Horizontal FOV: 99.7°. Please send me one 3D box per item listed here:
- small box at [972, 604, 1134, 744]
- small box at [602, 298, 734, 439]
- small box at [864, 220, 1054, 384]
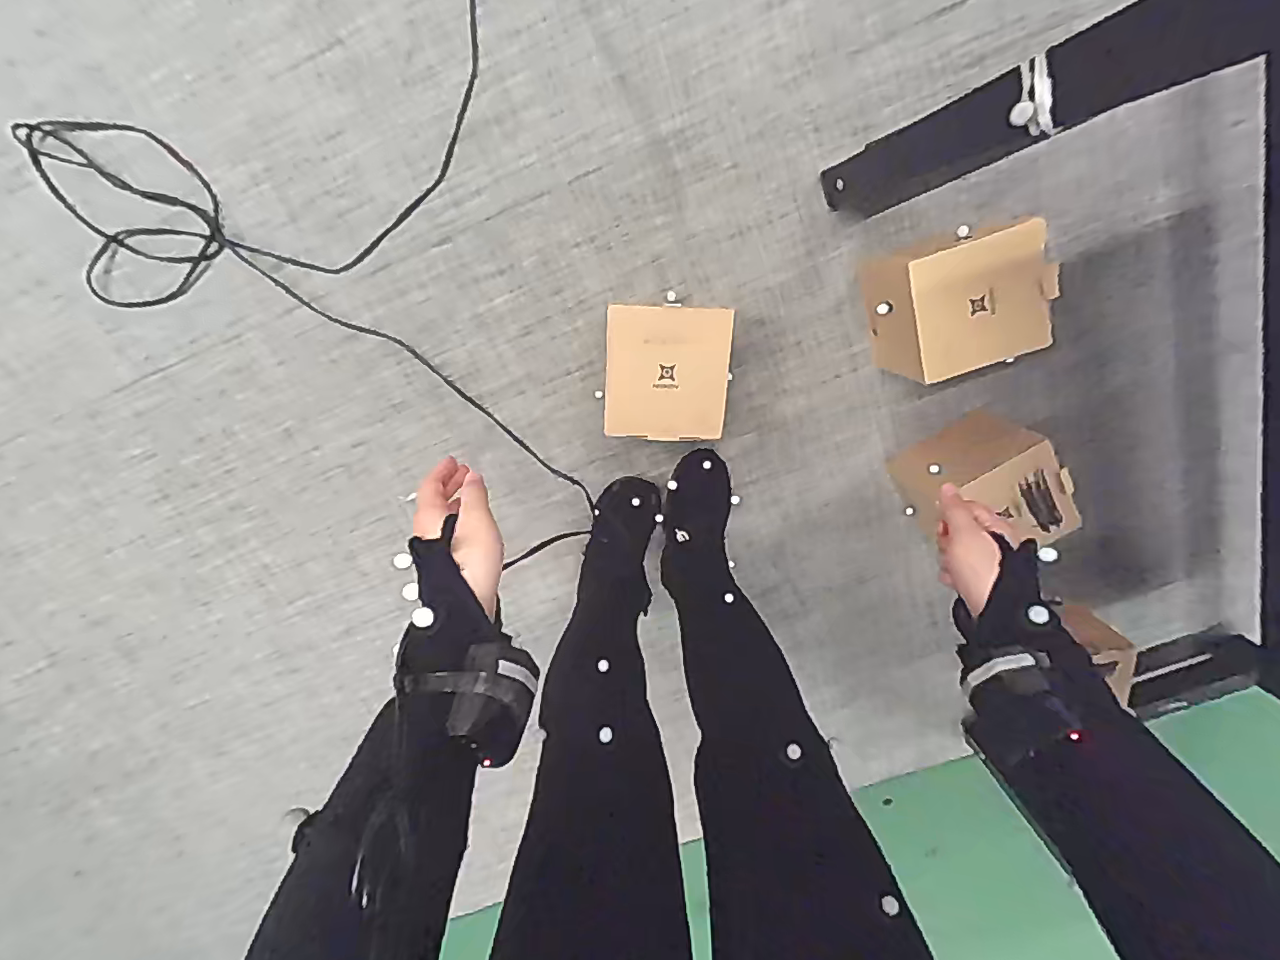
[{"bbox_3d":[0.745,0.346,0.998,0.168,0.176,0.179,-9,112,2],"label":"small box"},{"bbox_3d":[0.032,-0.168,0.790,0.168,0.176,0.179,2,109,-4],"label":"small box"},{"bbox_3d":[0.440,-0.250,0.772,0.179,0.176,0.168,-17,109,4],"label":"small box"}]
